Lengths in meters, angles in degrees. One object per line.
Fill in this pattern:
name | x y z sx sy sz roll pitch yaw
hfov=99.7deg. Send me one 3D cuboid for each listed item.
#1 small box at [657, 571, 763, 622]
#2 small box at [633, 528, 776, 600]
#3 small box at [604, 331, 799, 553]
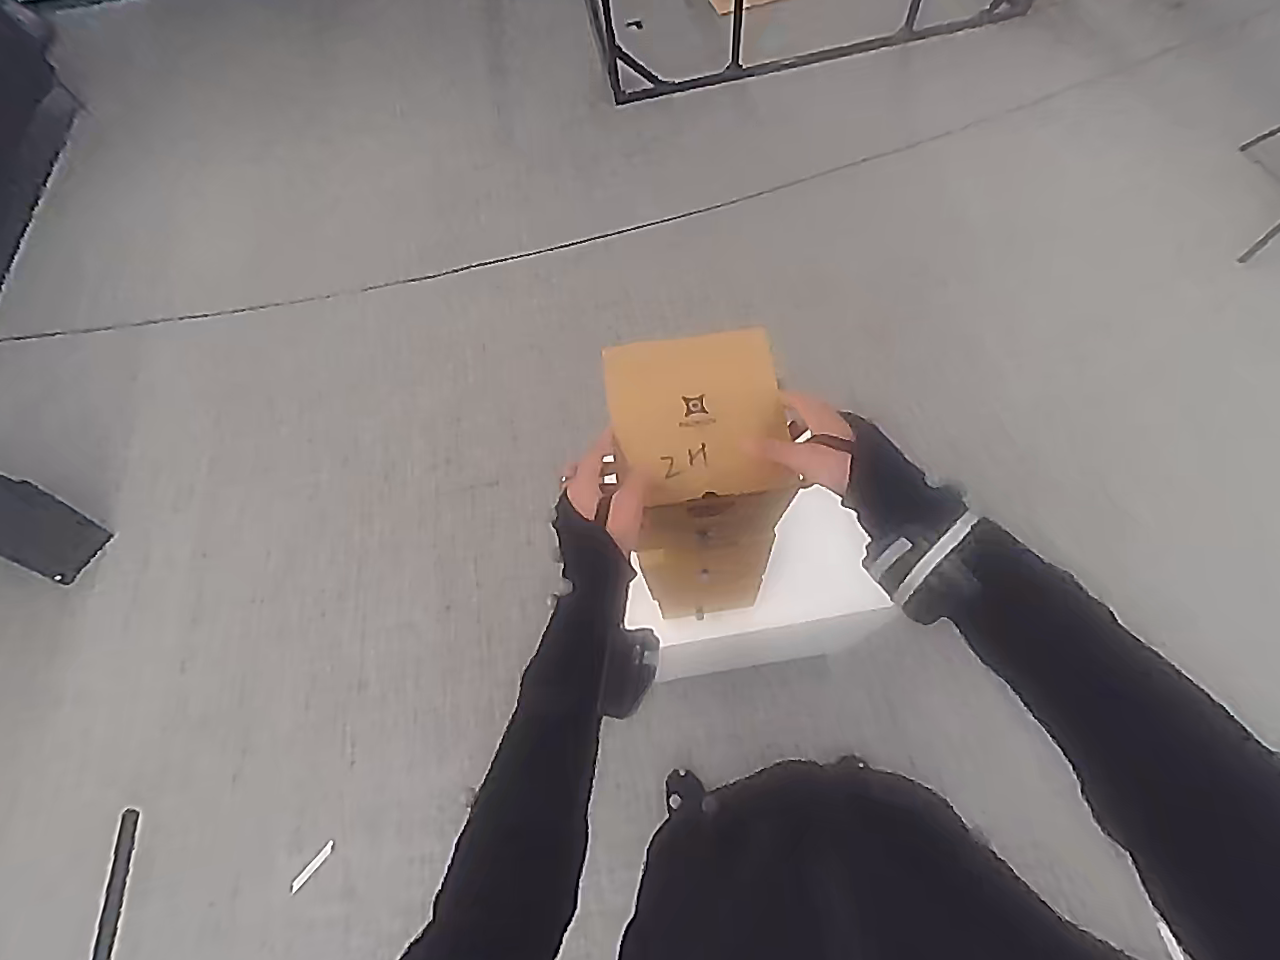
small box | 0.101 0.128 0.916 0.168 0.176 0.179 -10 63 3
small box | 0.077 0.057 0.770 0.179 0.176 0.168 -14 62 2
small box | 0.057 -0.031 0.586 0.168 0.176 0.179 -8 70 1
